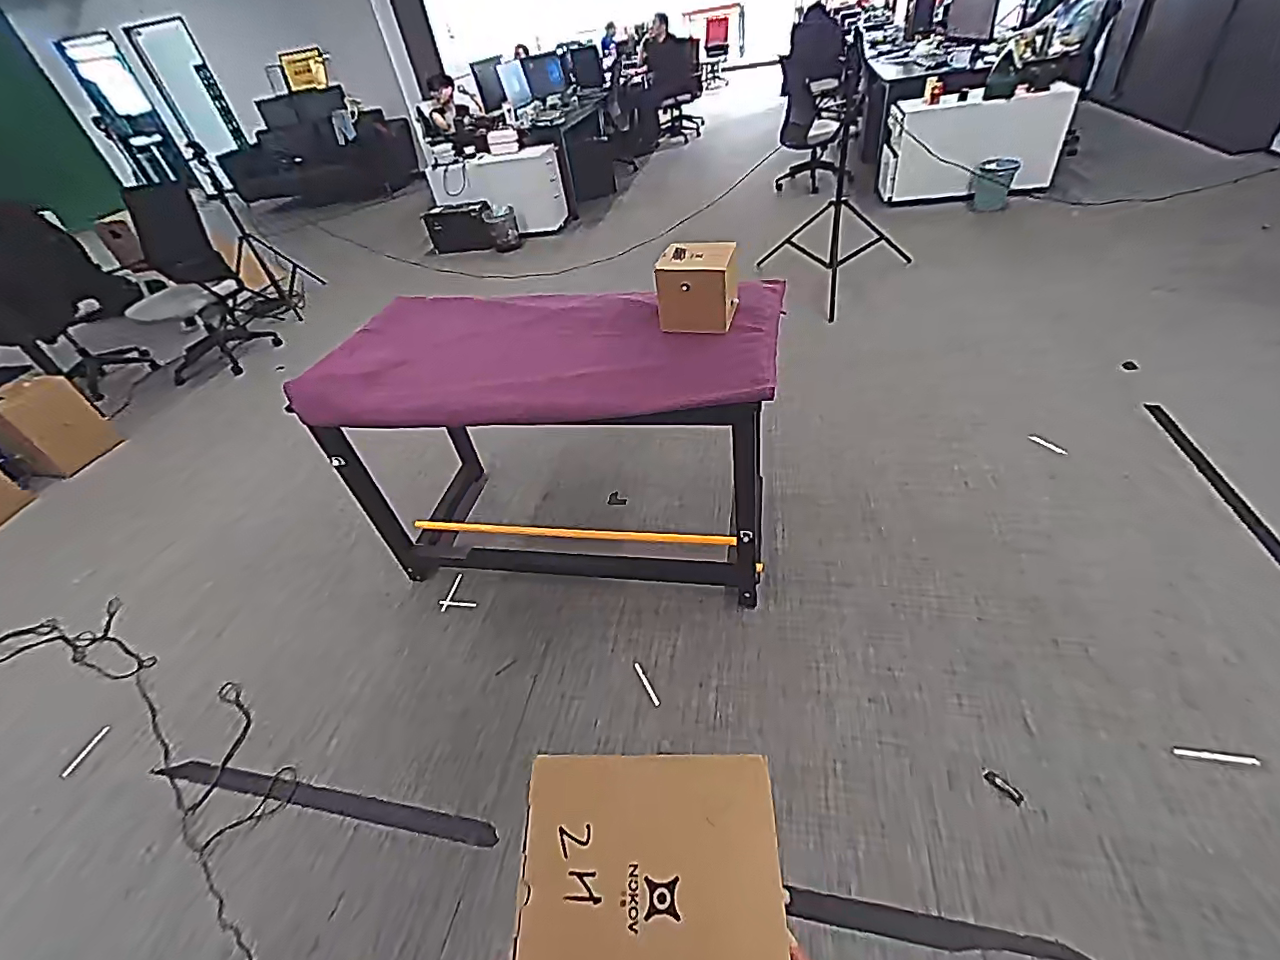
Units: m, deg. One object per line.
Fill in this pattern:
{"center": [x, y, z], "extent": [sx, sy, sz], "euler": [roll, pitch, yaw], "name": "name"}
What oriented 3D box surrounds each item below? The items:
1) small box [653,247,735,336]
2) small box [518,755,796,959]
{"center": [0.147, -0.486, 1.399], "extent": [0.179, 0.176, 0.168], "euler": [7, 45, 17], "name": "small box"}
{"center": [0.015, 0.316, 0.422], "extent": [0.179, 0.176, 0.168], "euler": [-2, 56, 4], "name": "small box"}
